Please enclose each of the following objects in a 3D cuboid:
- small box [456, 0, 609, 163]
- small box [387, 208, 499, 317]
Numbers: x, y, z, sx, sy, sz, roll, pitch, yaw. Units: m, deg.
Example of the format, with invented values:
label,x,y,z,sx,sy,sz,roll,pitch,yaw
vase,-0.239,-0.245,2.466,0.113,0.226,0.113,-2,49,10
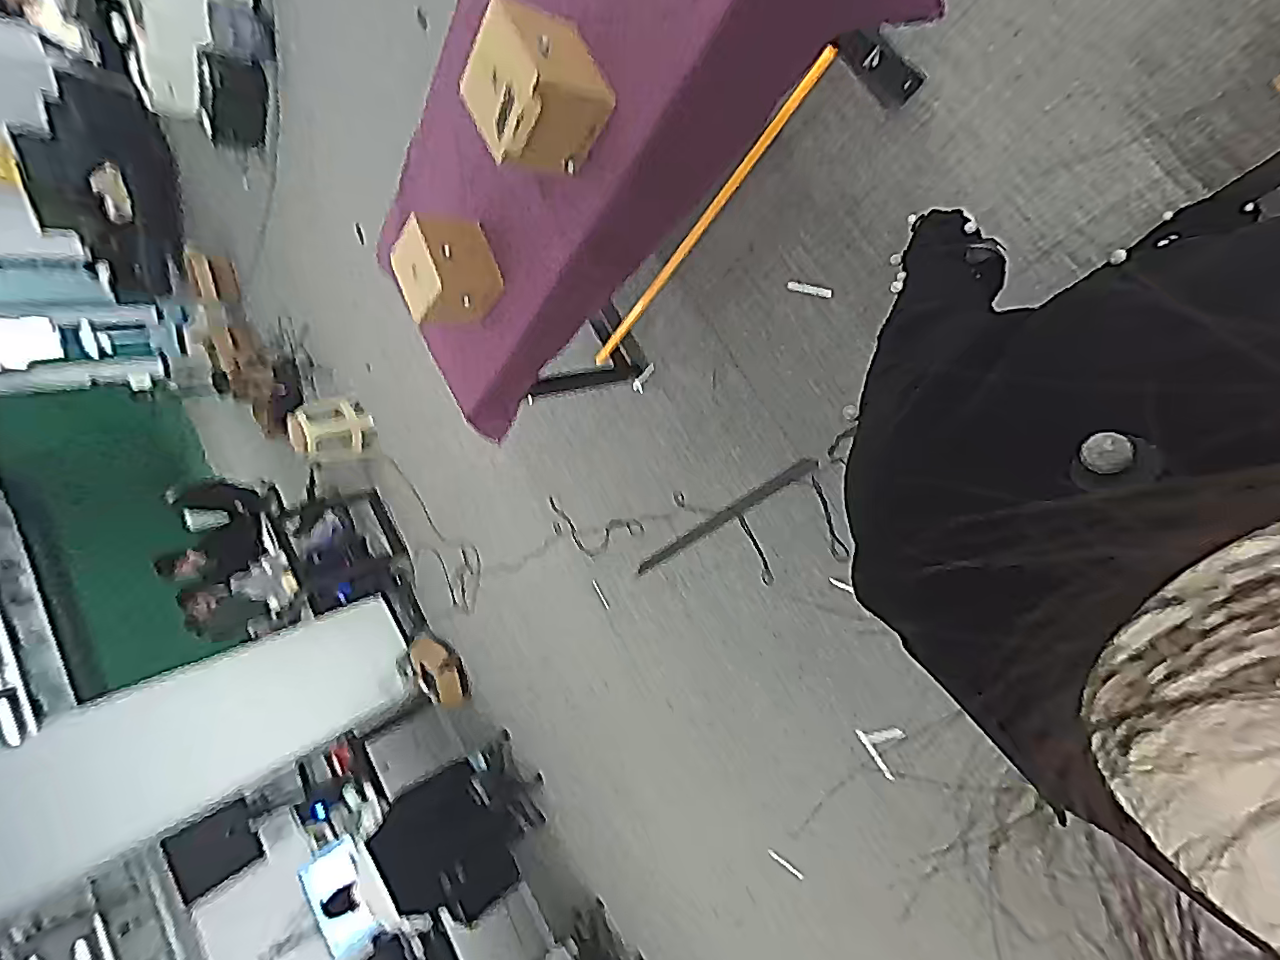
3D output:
label,x,y,z,sx,sy,sz,roll,pitch,yaw
small box,-0.183,-0.682,0.935,0.168,0.176,0.179,-35,79,45
small box,-0.457,-0.504,1.266,0.168,0.176,0.179,-23,88,45
